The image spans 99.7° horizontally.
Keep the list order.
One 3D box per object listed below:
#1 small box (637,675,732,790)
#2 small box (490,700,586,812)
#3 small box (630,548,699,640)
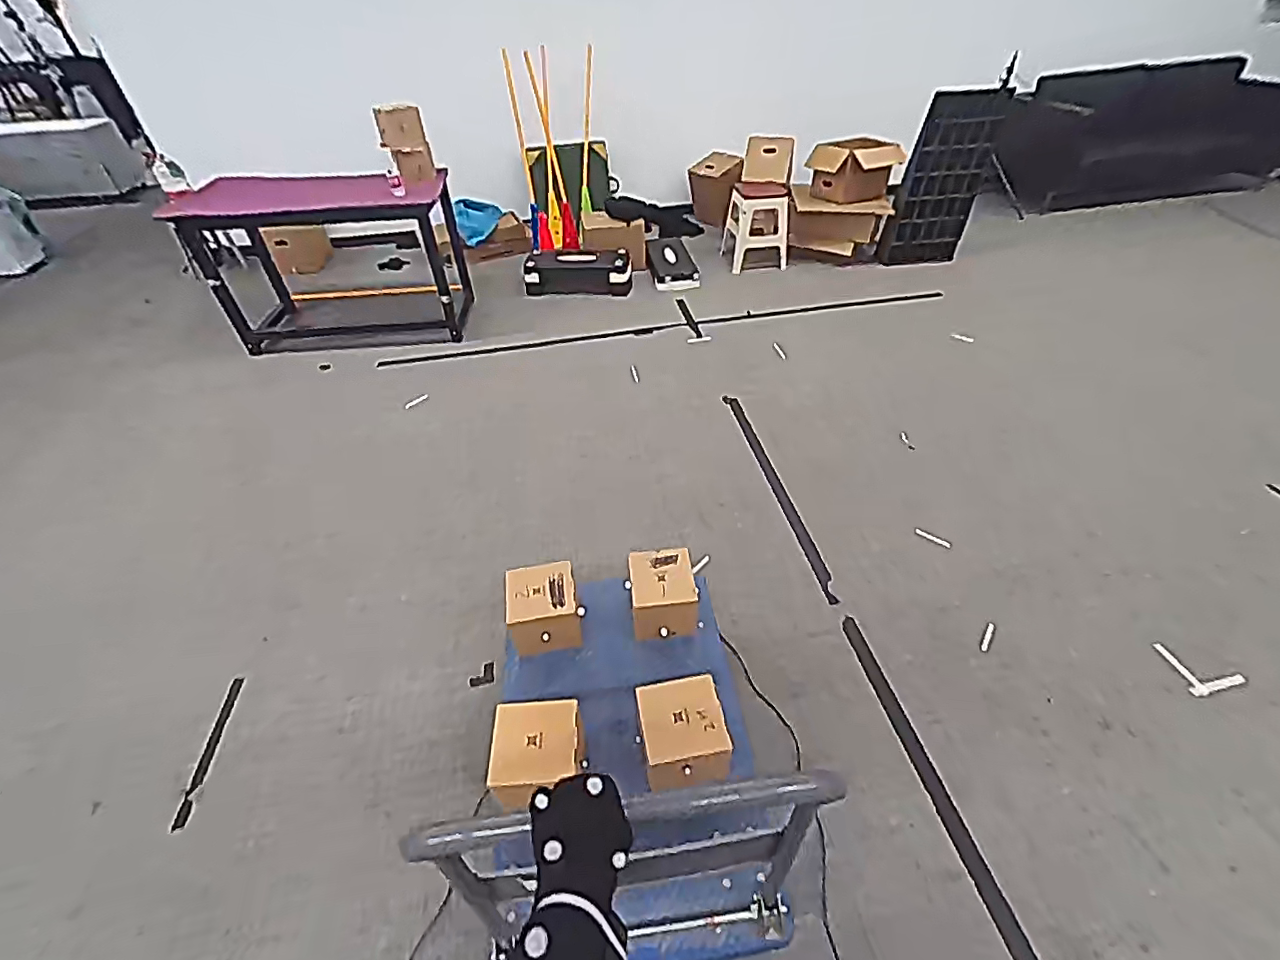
[{"bbox_3d":[0.095,0.560,1.195,0.179,0.176,0.168,-8,43,-6],"label":"small box"},{"bbox_3d":[-0.212,0.598,1.169,0.179,0.176,0.168,-3,42,-3],"label":"small box"},{"bbox_3d":[0.061,0.310,1.466,0.168,0.176,0.179,-5,44,-3],"label":"small box"}]
